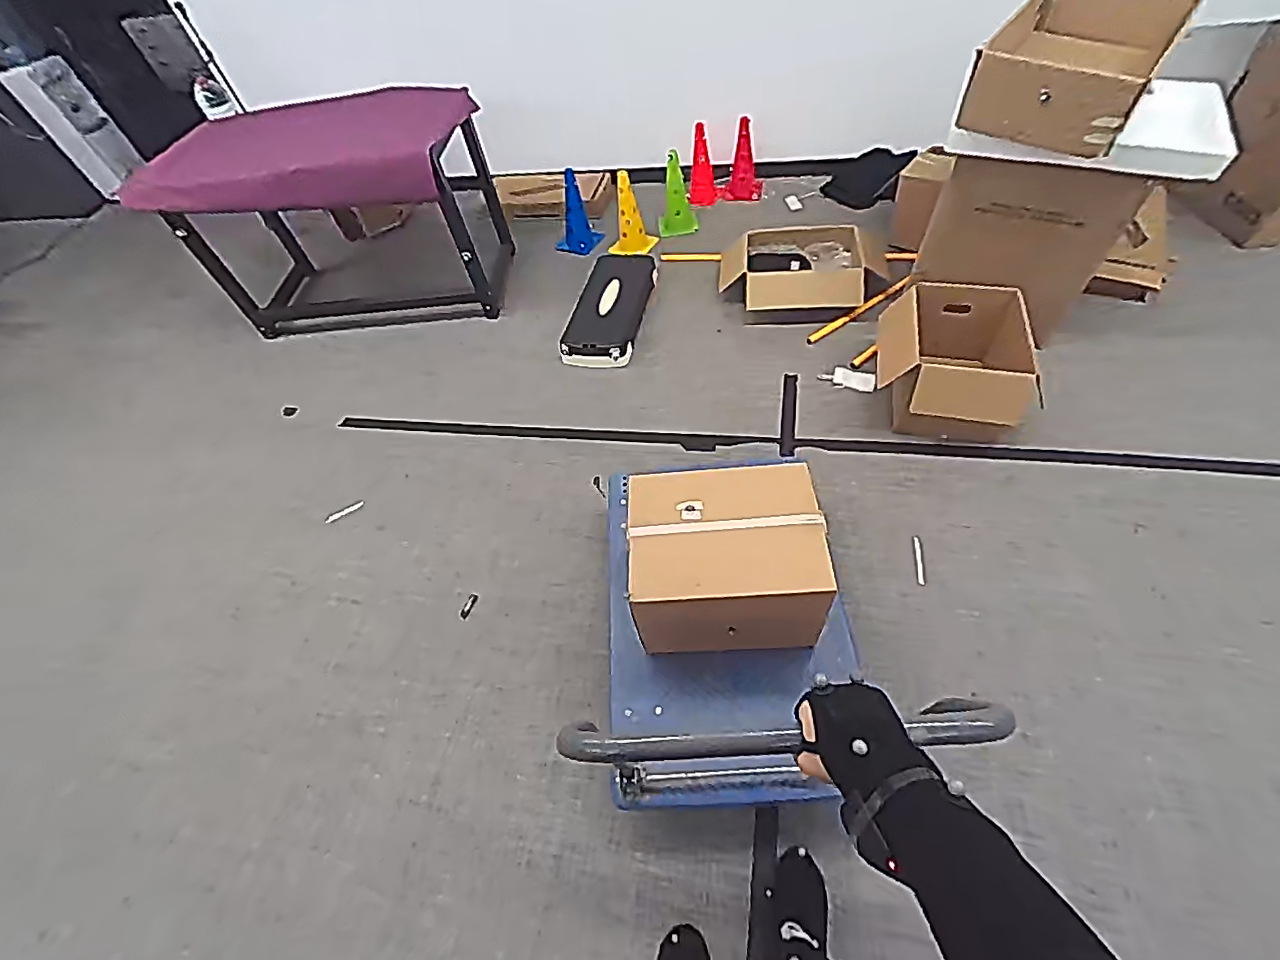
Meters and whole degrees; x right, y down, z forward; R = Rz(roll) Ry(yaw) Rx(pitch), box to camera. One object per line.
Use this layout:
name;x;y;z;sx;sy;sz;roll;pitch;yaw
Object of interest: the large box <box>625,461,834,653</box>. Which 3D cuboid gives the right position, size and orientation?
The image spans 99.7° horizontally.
large box;0.190;0.188;1.244;0.408;0.320;0.320;-6;52;6
